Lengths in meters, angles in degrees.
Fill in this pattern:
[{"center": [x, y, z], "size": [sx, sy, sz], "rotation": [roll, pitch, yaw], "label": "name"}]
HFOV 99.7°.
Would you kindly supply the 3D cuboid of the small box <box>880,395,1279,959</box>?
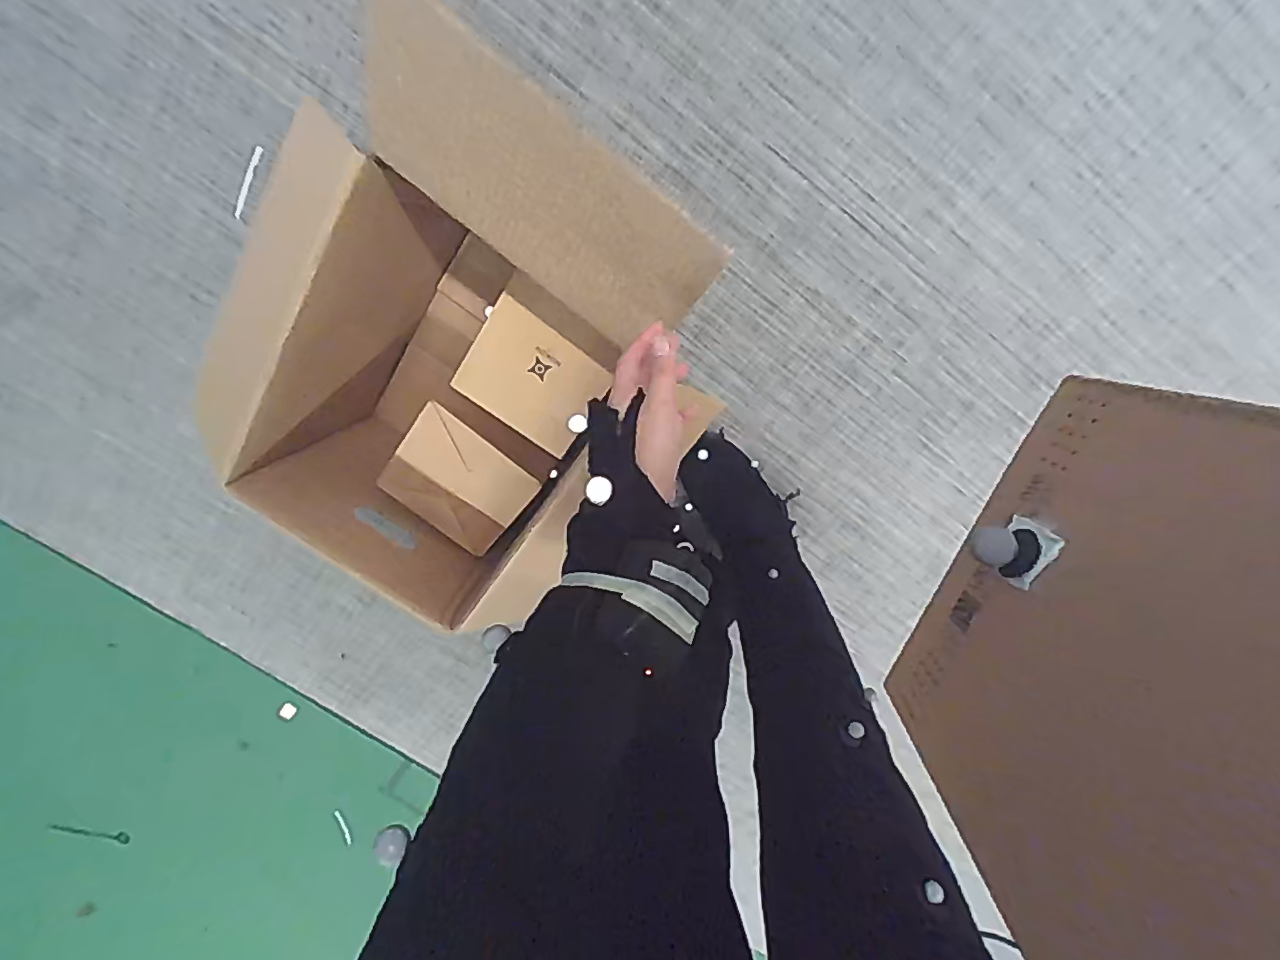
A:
[{"center": [0.216, 0.079, 0.178], "size": [0.179, 0.176, 0.168], "rotation": [18, 107, 1], "label": "small box"}]
